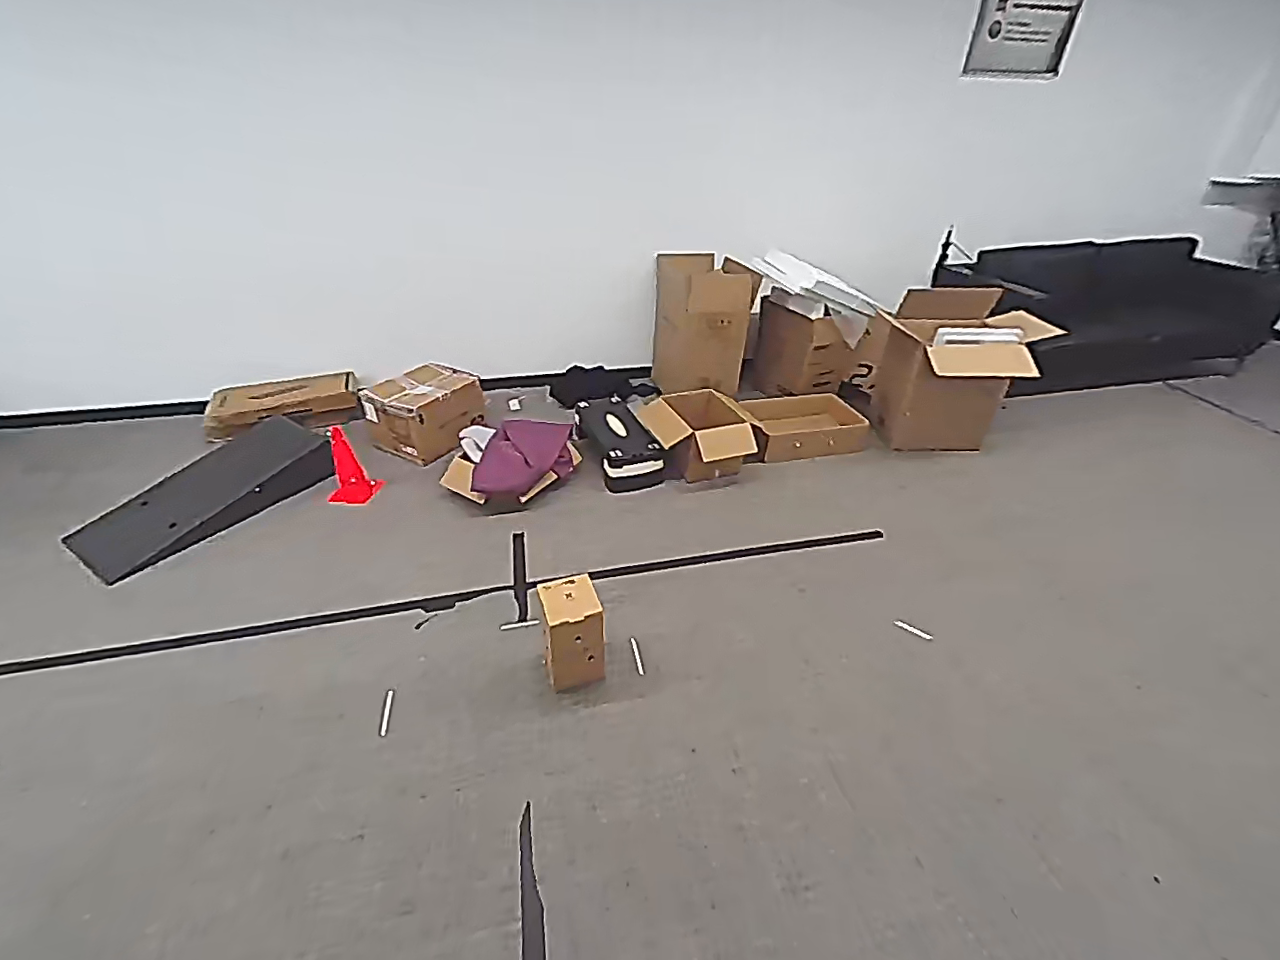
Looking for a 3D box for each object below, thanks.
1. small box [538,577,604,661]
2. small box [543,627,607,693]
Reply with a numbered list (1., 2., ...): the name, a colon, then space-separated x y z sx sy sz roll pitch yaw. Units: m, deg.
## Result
1. small box: -0.211 0.435 1.674 0.168 0.176 0.179 -11 36 -17
2. small box: -0.214 0.566 1.772 0.179 0.176 0.168 -10 35 -16
